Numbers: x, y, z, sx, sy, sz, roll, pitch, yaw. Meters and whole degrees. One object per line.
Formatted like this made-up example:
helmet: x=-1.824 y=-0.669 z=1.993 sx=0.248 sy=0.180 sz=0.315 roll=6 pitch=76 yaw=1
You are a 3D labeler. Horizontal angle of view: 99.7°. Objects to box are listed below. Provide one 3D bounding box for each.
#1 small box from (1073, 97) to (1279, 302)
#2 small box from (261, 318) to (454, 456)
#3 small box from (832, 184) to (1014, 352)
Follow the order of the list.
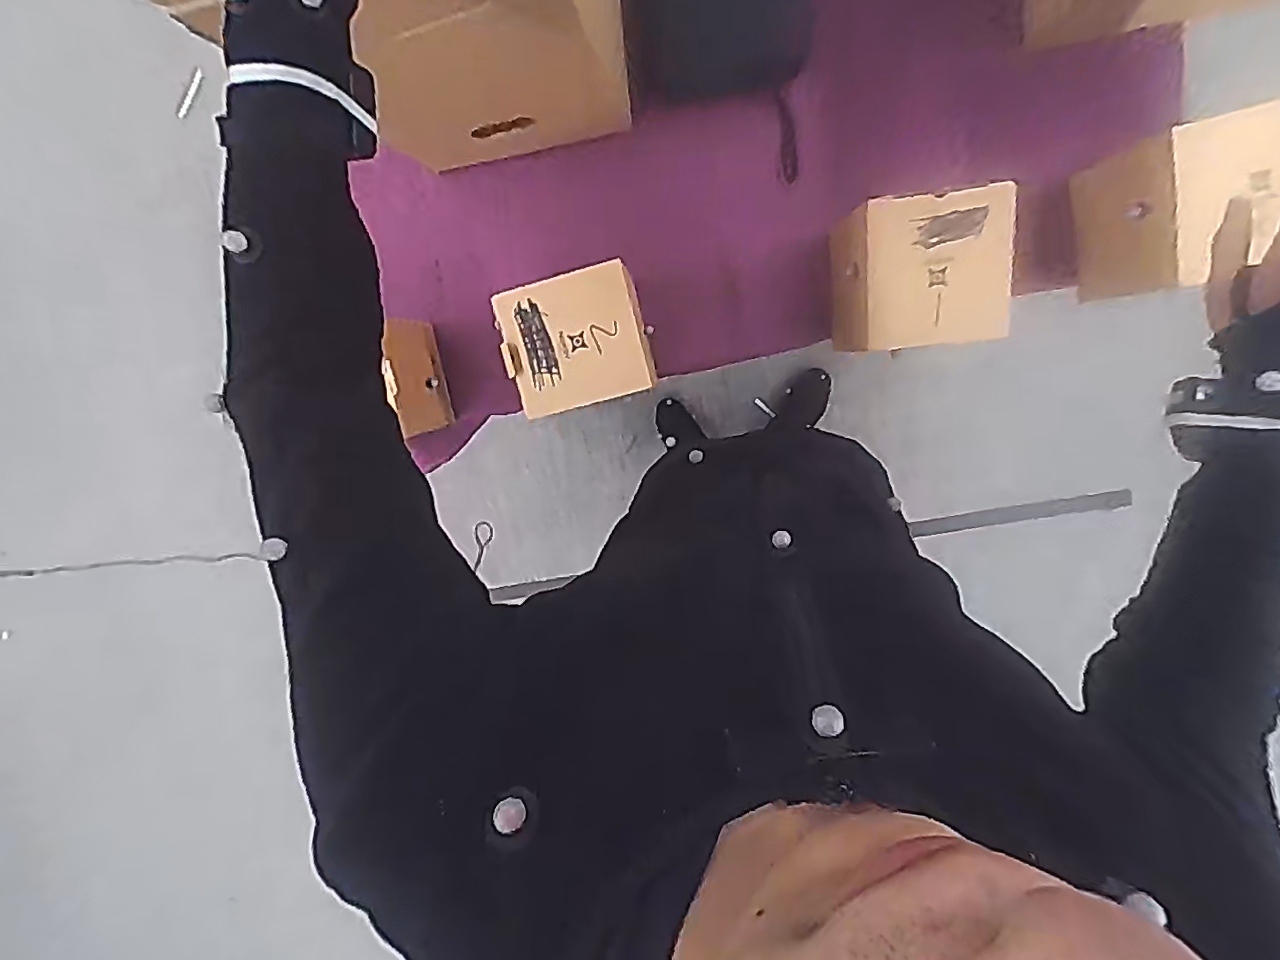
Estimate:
small box: x=0.682 y=-0.335 z=0.673 sx=0.168 sy=0.176 sz=0.179 roll=-11 pitch=101 yaw=9
small box: x=-0.409 y=-0.139 z=0.814 sx=0.179 sy=0.176 sz=0.168 roll=-10 pitch=101 yaw=6
small box: x=0.359 y=-0.266 z=0.719 sx=0.168 sy=0.176 sz=0.179 roll=-5 pitch=103 yaw=6
